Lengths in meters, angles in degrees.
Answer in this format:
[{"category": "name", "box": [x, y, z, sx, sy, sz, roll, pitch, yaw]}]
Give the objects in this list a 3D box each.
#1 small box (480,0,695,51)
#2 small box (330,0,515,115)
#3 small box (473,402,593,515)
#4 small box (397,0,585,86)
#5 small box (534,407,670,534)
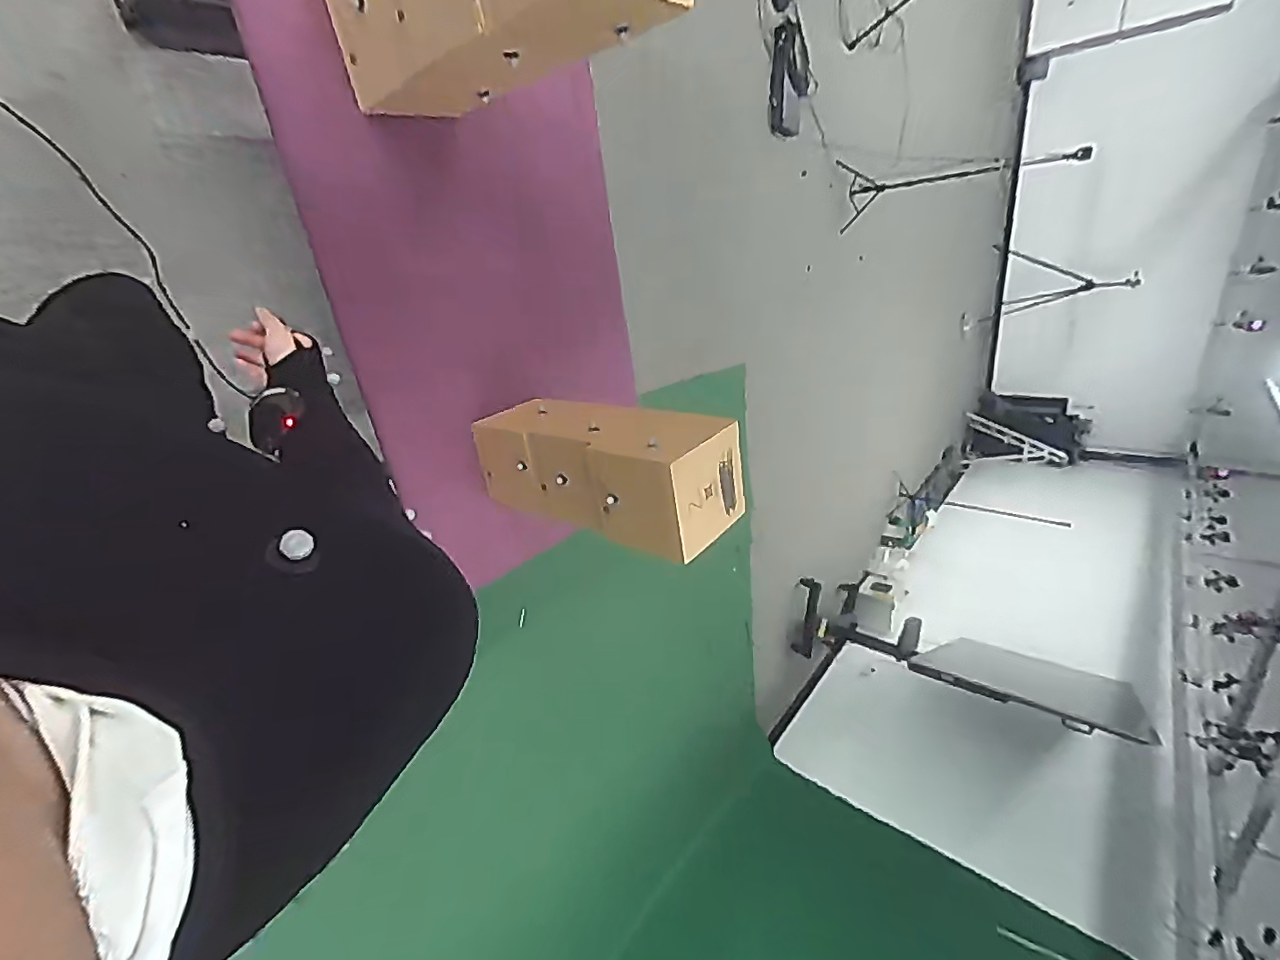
[{"category": "small box", "box": [-0.064, -0.586, 0.573, 0.179, 0.176, 0.168, -32, 122, -41]}, {"category": "small box", "box": [-0.315, -0.642, 0.776, 0.179, 0.176, 0.168, -33, 123, -40]}, {"category": "small box", "box": [-0.196, -0.052, 1.070, 0.179, 0.176, 0.168, -32, 121, -42]}, {"category": "small box", "box": [-0.192, -0.613, 0.670, 0.179, 0.176, 0.168, -33, 124, -42]}, {"category": "small box", "box": [-0.071, -0.026, 0.966, 0.179, 0.176, 0.168, -30, 122, -43]}]
